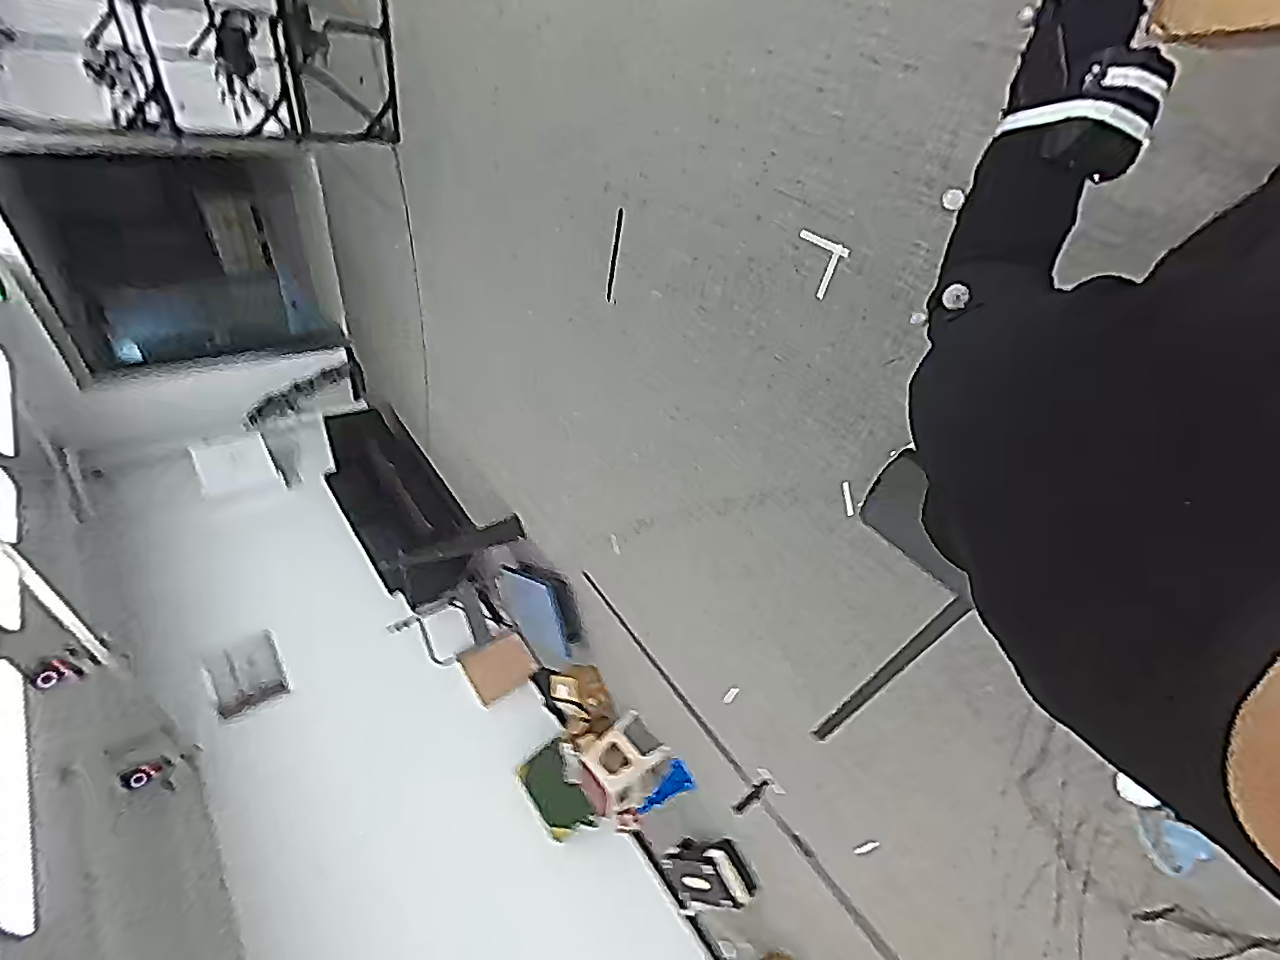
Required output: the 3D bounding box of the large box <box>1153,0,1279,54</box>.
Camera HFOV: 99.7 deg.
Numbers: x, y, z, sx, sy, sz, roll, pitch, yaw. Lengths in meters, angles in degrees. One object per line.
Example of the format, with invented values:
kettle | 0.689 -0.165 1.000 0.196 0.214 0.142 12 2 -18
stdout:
large box | 0.578 -0.428 0.250 0.408 0.320 0.320 26 134 39
